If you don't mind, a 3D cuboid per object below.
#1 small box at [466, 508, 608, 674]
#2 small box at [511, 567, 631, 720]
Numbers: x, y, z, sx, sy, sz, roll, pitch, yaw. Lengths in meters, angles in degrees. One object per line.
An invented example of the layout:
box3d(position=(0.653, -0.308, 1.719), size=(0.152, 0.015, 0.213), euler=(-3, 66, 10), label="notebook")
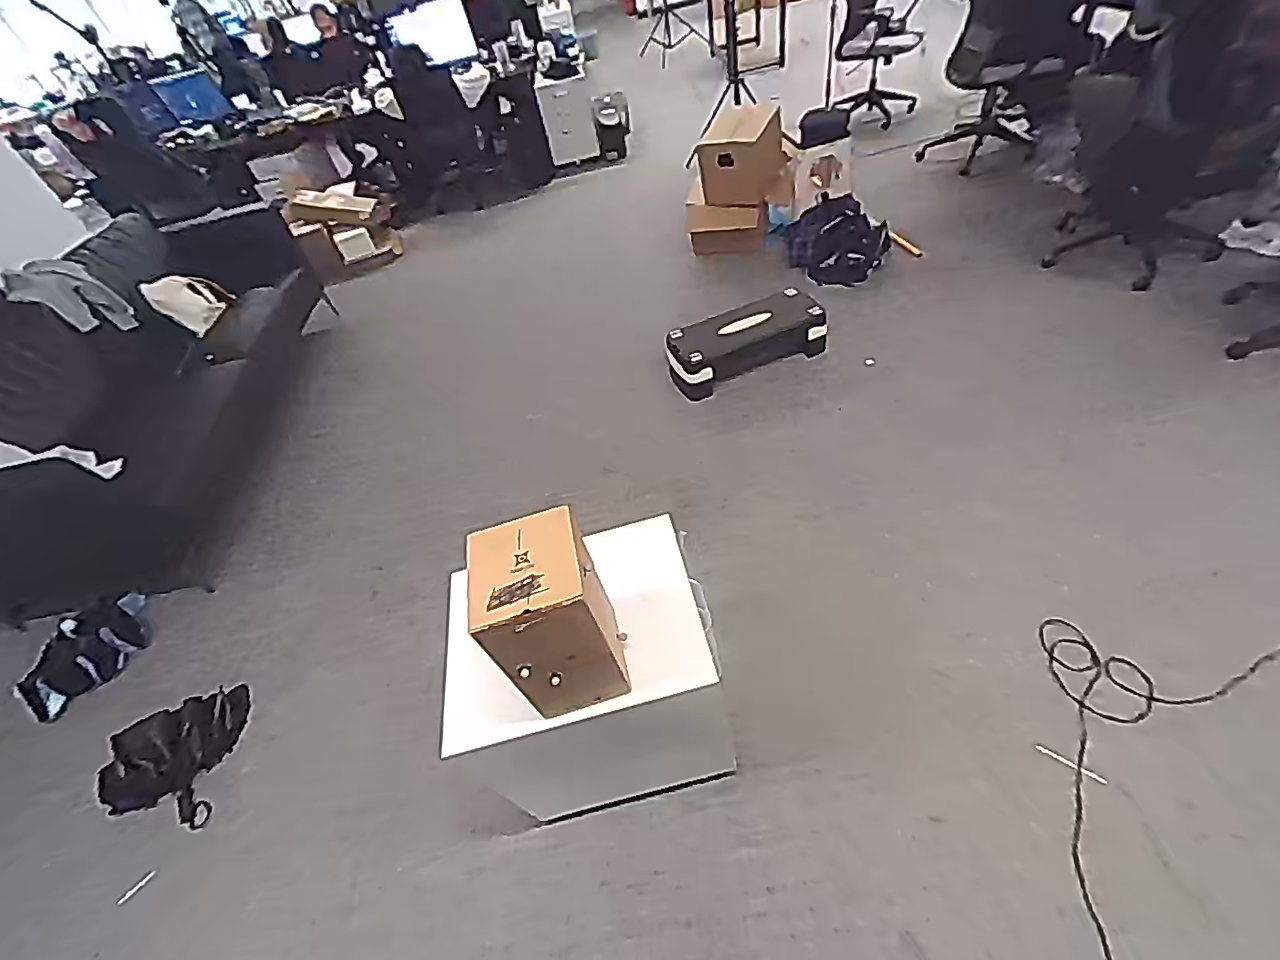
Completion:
box3d(position=(-0.157, 0.179, 0.839), size=(0.168, 0.176, 0.179), euler=(-17, 45, -2), label="small box")
box3d(position=(-0.126, 0.290, 0.957), size=(0.168, 0.176, 0.179), euler=(-18, 45, -2), label="small box")
